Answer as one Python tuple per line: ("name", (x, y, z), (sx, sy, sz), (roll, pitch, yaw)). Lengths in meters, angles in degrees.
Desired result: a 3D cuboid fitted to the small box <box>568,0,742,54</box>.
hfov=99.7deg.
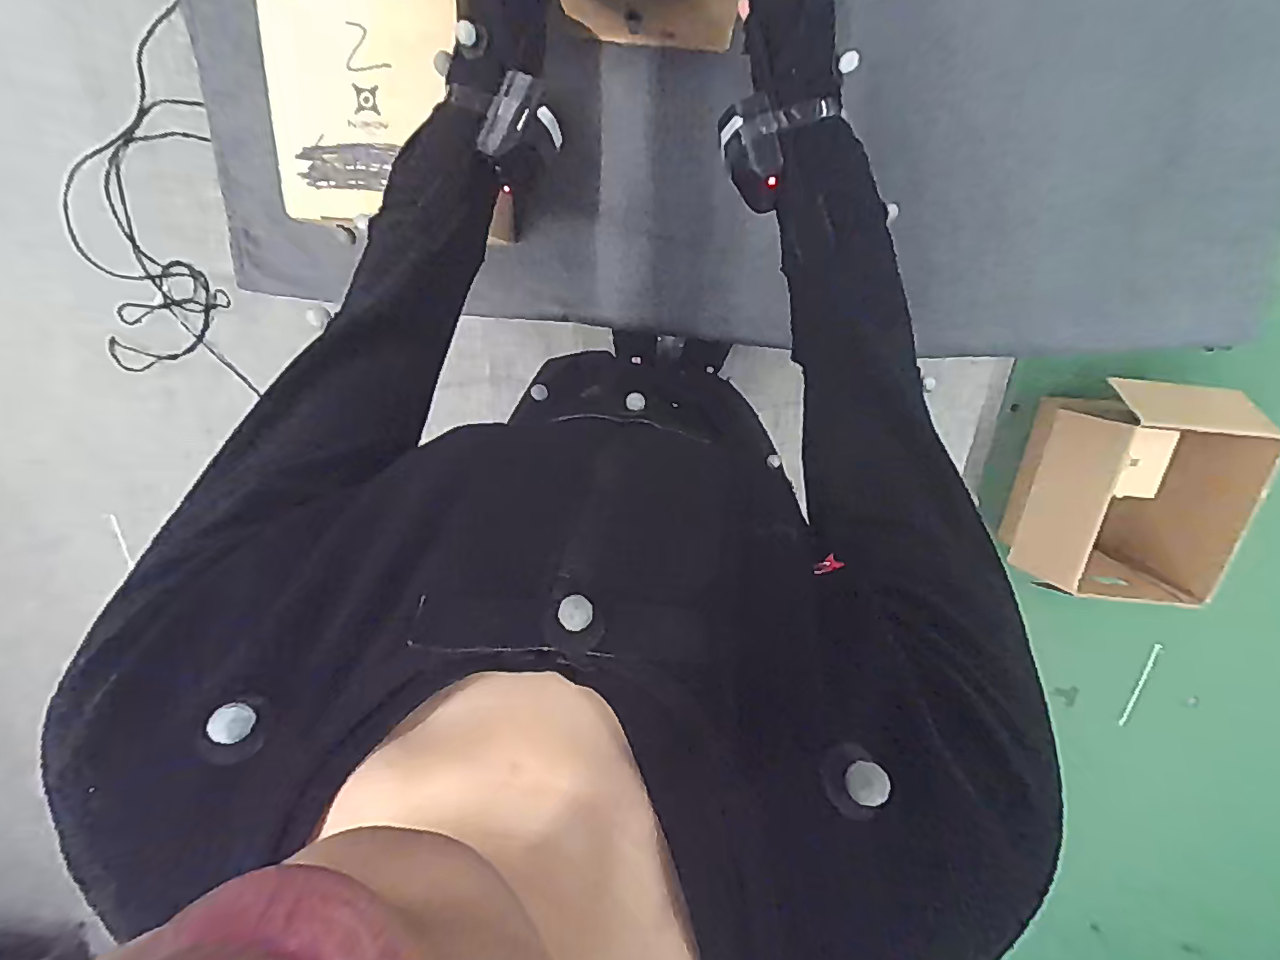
("small box", (0.016, -0.512, 0.468), (0.168, 0.176, 0.179), (6, 111, 0))
